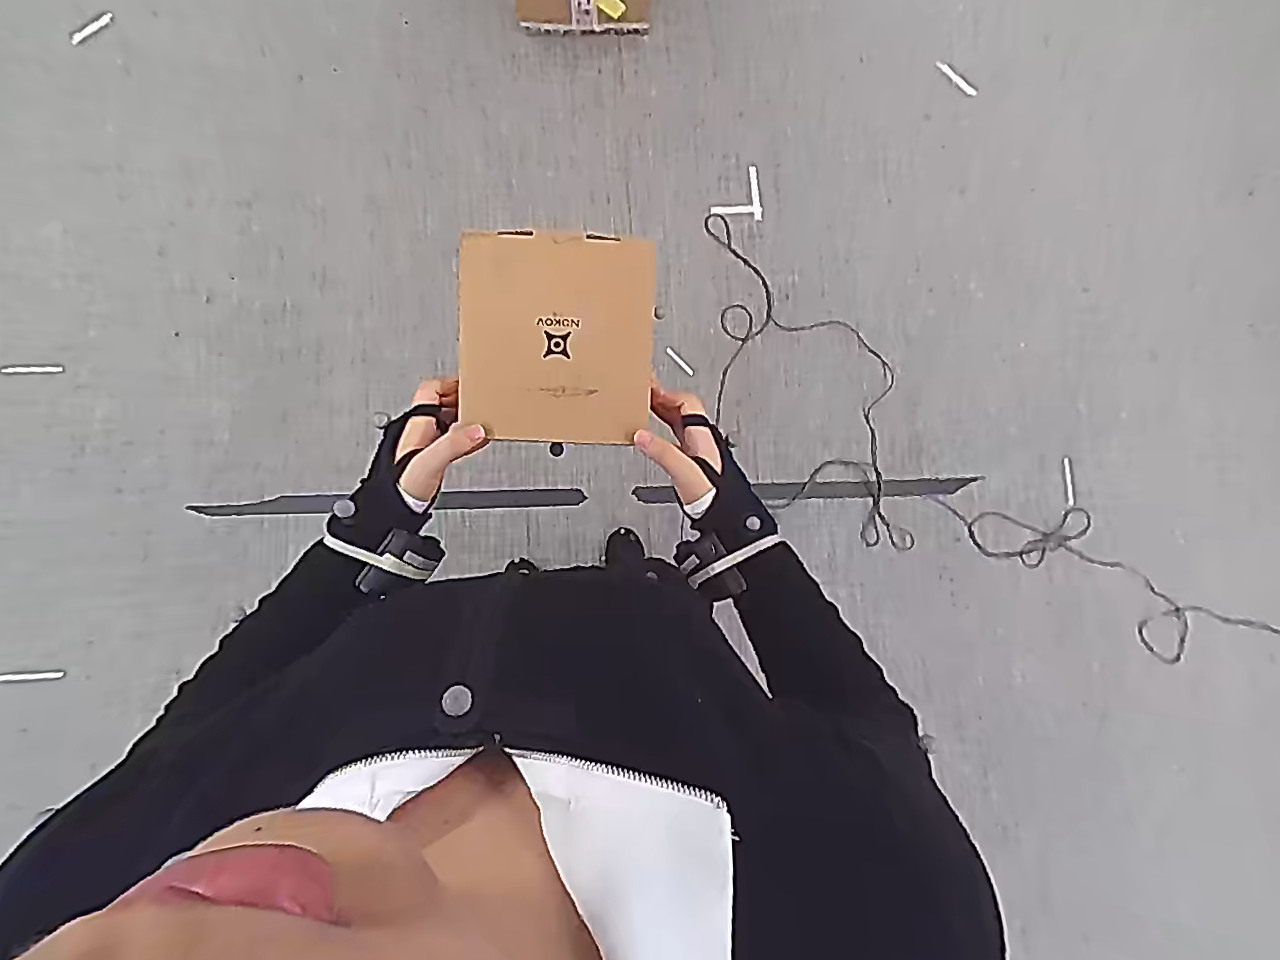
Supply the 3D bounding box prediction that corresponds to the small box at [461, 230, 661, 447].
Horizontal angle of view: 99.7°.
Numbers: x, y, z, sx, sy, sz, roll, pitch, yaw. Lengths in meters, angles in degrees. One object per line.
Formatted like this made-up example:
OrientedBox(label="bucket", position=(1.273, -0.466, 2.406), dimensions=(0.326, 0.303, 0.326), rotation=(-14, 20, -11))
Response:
OrientedBox(label="small box", position=(-0.071, -0.124, 0.536), dimensions=(0.168, 0.176, 0.179), rotation=(2, 95, -2))
